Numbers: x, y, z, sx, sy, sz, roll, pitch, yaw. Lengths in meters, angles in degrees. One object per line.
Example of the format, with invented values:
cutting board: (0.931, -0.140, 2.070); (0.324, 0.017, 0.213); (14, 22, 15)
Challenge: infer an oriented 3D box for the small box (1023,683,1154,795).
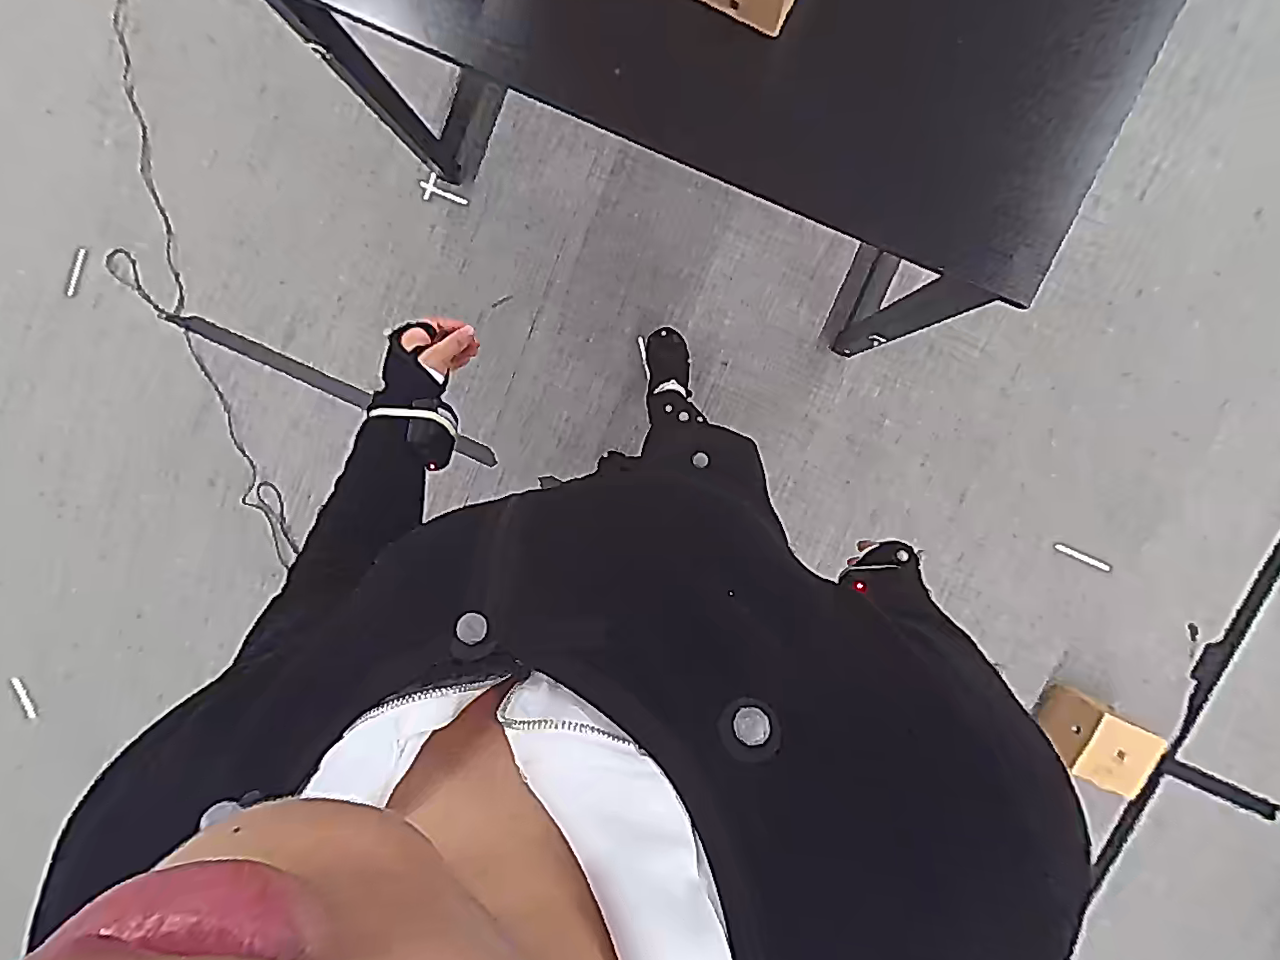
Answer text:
small box: (1.157, 0.666, 1.412); (0.168, 0.176, 0.179); (24, 97, 1)

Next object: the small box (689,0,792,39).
small box: (0.131, -0.659, 0.598); (0.168, 0.176, 0.179); (28, 97, 0)
